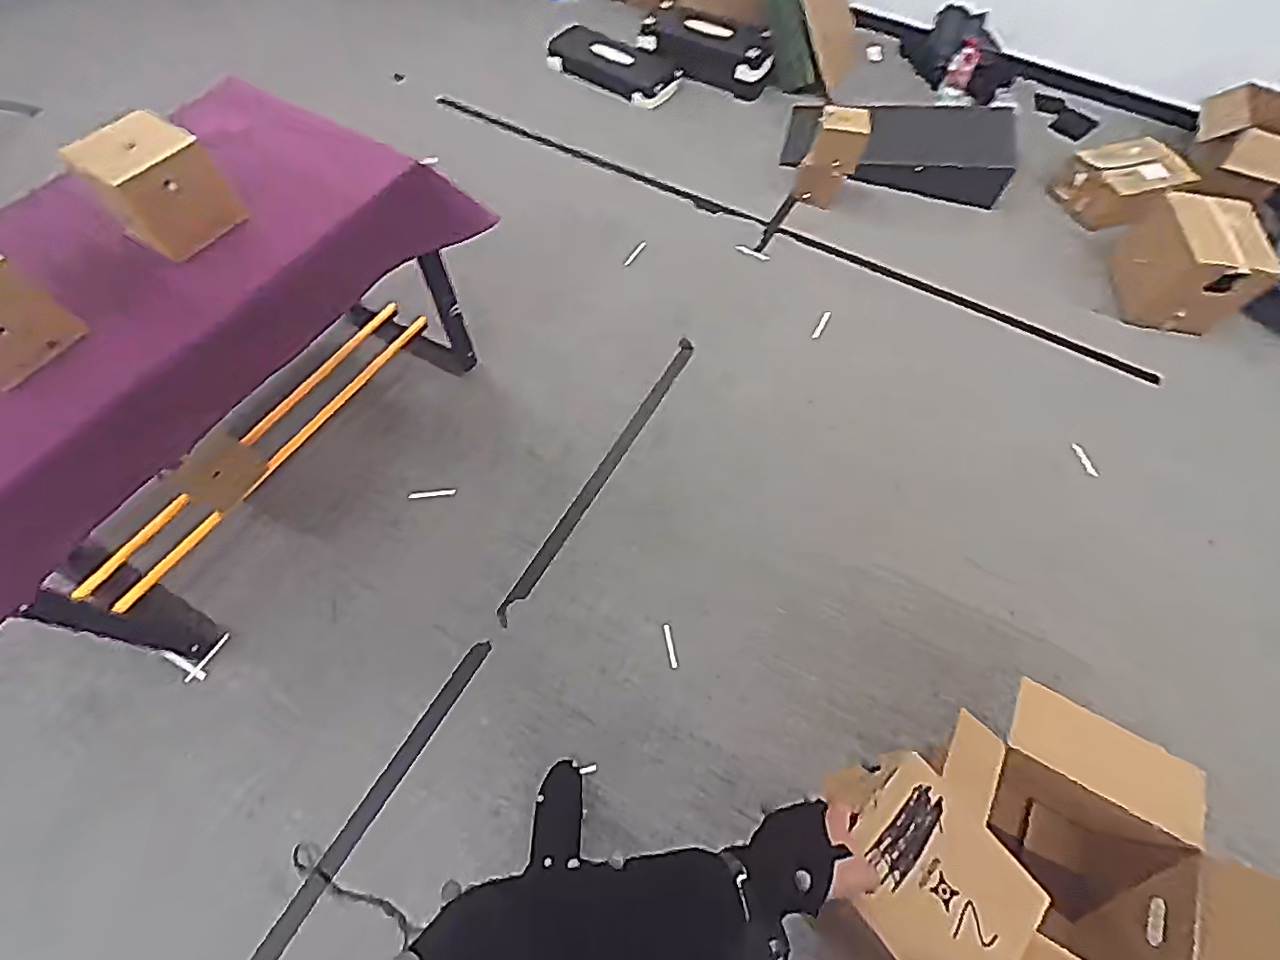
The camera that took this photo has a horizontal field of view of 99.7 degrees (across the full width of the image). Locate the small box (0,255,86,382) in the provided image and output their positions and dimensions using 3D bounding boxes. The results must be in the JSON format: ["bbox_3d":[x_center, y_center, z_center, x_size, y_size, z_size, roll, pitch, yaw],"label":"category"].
[{"bbox_3d":[-1.114,-0.289,0.902,0.179,0.176,0.168,26,64,10],"label":"small box"}]

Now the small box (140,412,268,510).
[{"bbox_3d":[-1.167,-0.044,1.466,0.168,0.176,0.179,25,63,9],"label":"small box"}]

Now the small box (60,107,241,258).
[{"bbox_3d":[-0.934,-0.578,1.060,0.168,0.176,0.179,30,66,12],"label":"small box"}]
